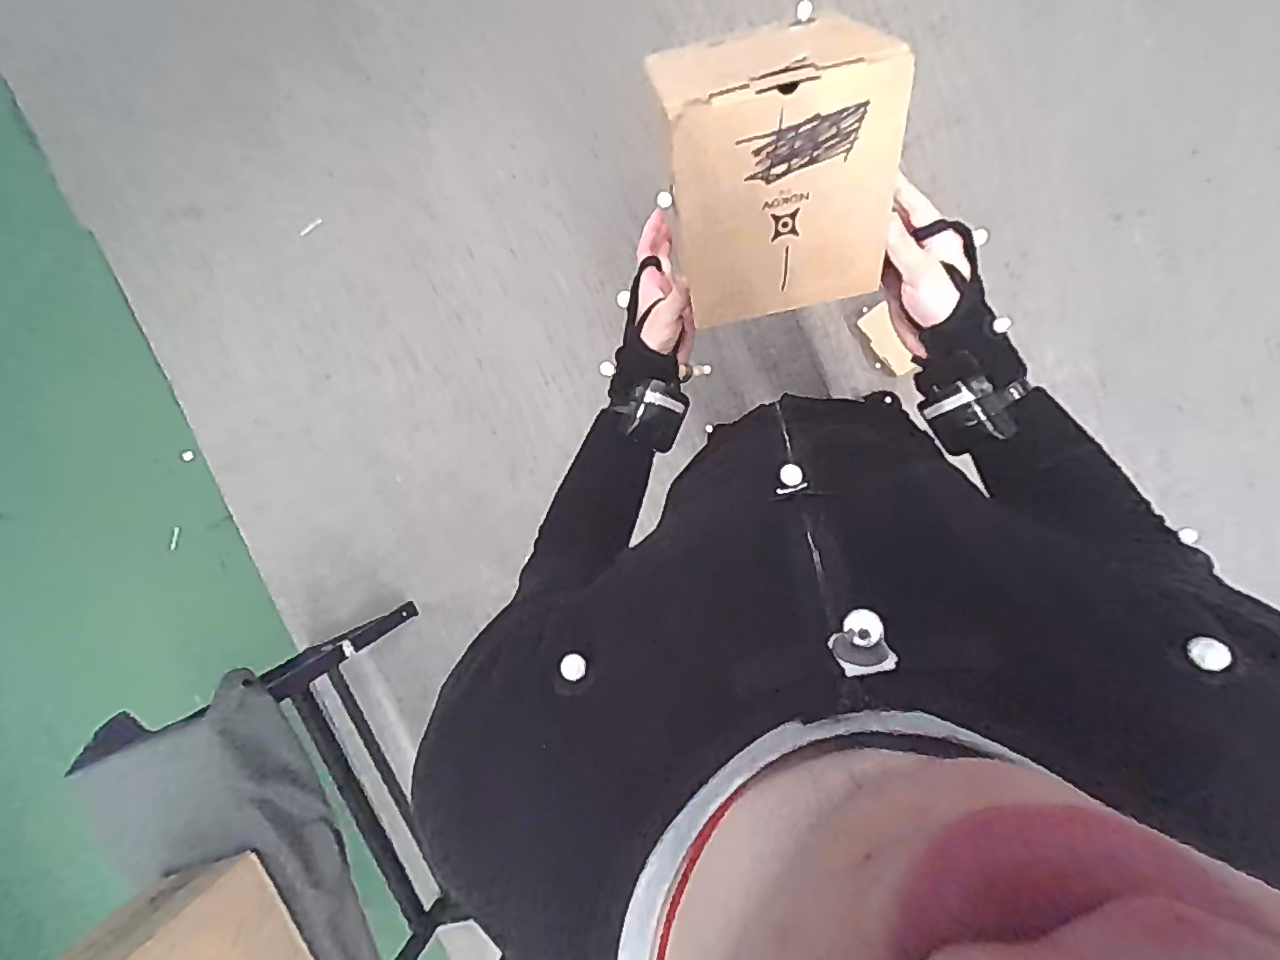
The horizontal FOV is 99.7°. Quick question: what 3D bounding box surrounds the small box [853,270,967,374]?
[{"bbox_3d":[0.634,-0.369,1.299,0.179,0.176,0.168,-38,90,18],"label":"small box"}]
